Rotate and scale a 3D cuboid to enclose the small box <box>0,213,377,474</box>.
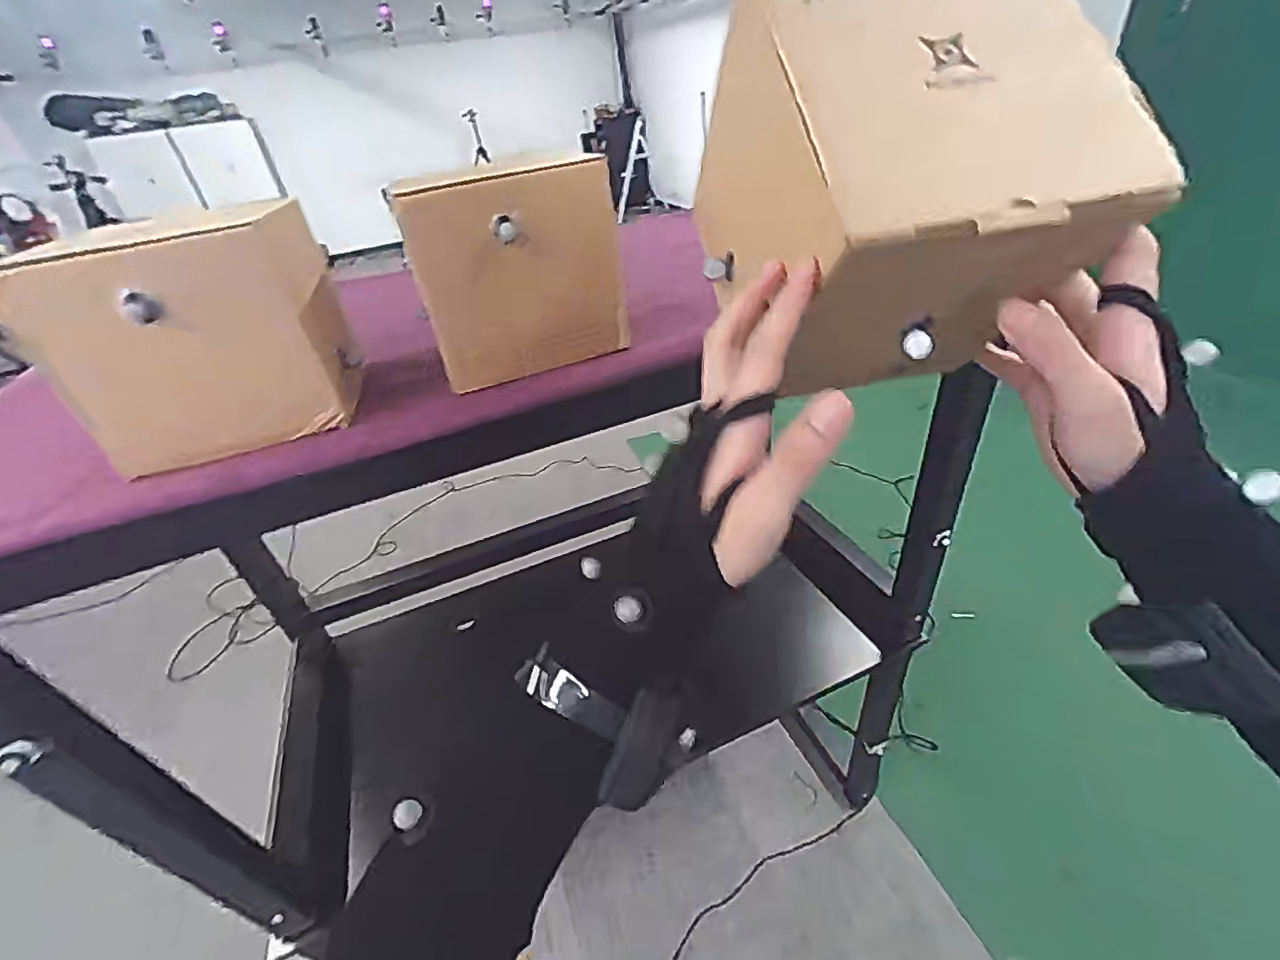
[{"bbox_3d":[-0.363,-0.125,0.482,0.179,0.176,0.168,-15,35,-11],"label":"small box"}]

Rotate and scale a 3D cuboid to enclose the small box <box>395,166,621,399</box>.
[{"bbox_3d":[-0.127,-0.204,0.546,0.179,0.176,0.168,-20,35,-14],"label":"small box"}]

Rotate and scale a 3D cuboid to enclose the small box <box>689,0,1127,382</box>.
[{"bbox_3d":[0.137,-0.178,0.353,0.168,0.176,0.179,-11,74,-7],"label":"small box"}]
